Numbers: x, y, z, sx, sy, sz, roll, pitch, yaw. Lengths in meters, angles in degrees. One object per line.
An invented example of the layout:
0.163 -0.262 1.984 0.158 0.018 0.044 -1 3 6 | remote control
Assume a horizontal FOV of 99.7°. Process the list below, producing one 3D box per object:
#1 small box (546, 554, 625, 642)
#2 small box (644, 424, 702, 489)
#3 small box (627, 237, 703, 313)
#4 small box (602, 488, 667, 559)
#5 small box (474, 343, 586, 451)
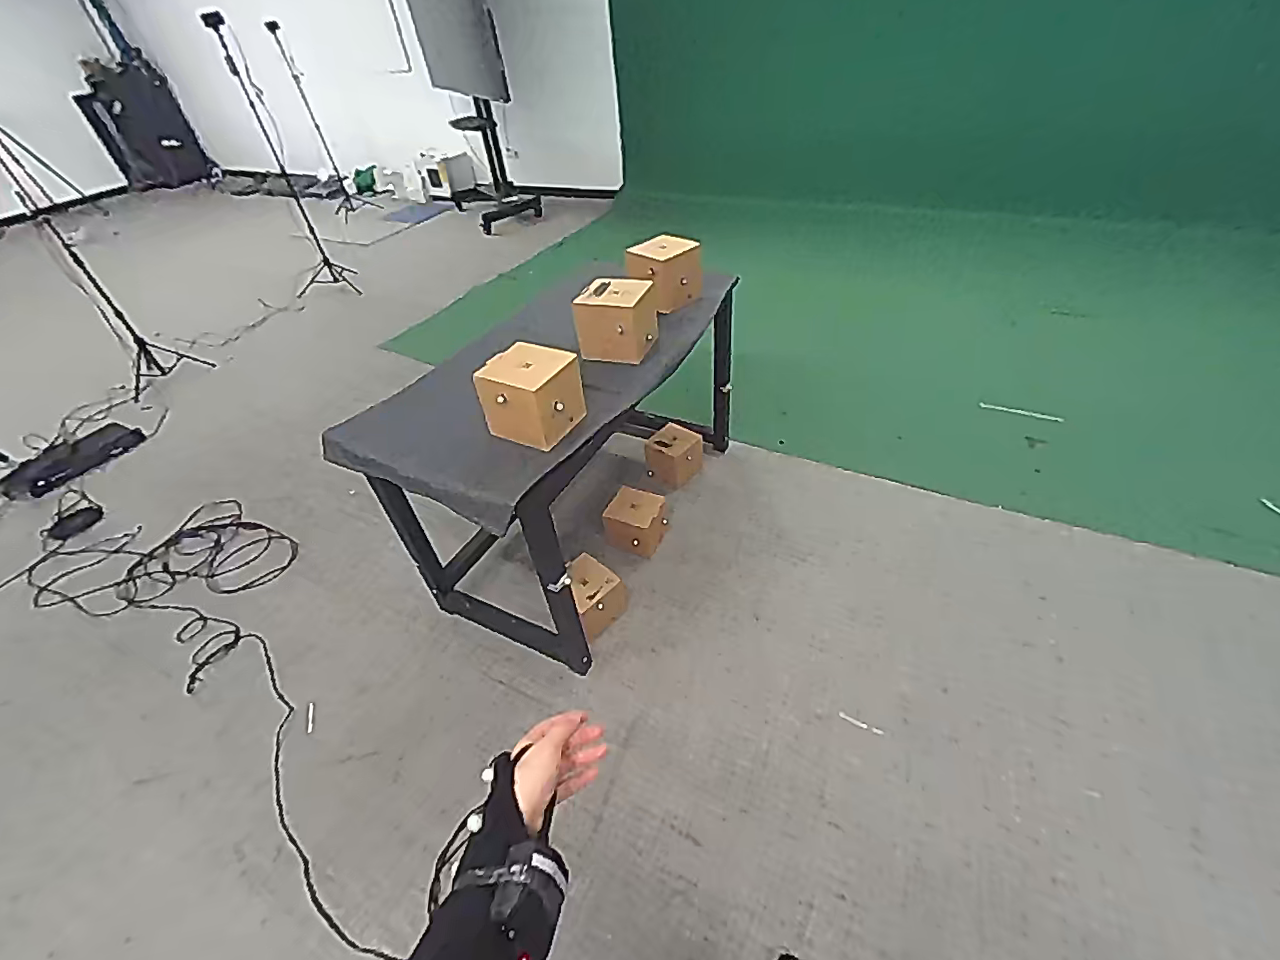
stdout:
-0.168 0.374 1.704 0.168 0.176 0.179 -36 50 -29 | small box
0.139 -0.092 2.179 0.168 0.176 0.179 28 51 31 | small box
0.084 -0.643 1.701 0.168 0.176 0.179 -33 46 -27 | small box
-0.012 0.158 1.923 0.179 0.176 0.168 14 45 22 | small box
-0.242 -0.188 1.246 0.179 0.176 0.168 18 47 24 | small box
